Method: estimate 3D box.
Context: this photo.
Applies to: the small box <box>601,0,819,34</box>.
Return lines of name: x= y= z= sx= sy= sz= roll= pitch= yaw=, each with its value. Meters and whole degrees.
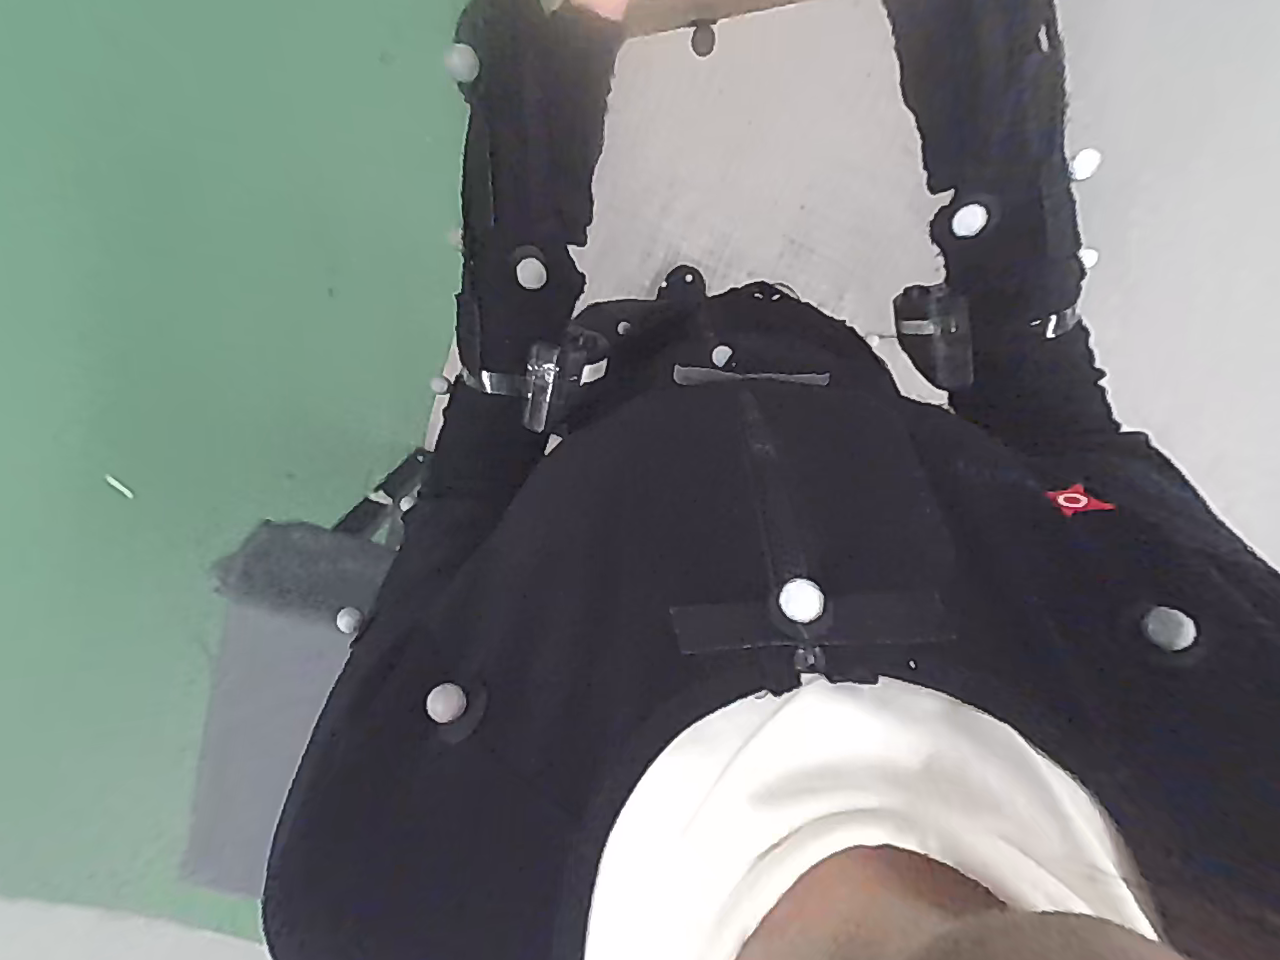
small box: x=0.045 y=-0.341 z=0.252 sx=0.168 sy=0.176 sz=0.179 roll=-7 pitch=125 yaw=4
